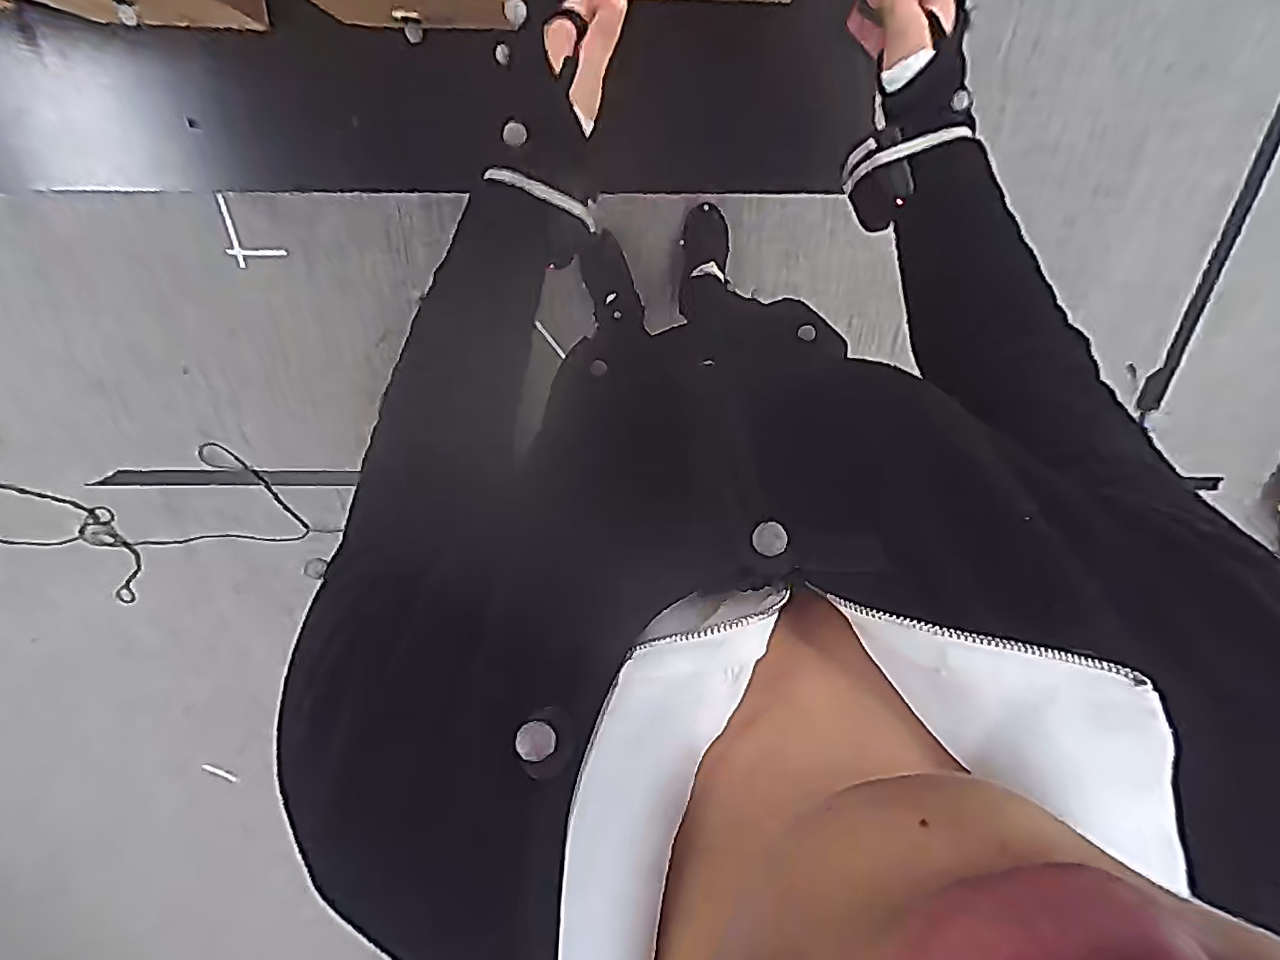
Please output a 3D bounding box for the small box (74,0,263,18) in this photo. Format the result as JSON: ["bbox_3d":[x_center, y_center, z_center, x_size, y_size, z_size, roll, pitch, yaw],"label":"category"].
[{"bbox_3d":[-0.433,-0.484,0.412,0.168,0.176,0.179,-1,118,-4],"label":"small box"}]

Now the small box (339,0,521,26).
[{"bbox_3d":[-0.195,-0.491,0.425,0.168,0.176,0.179,-2,119,-1],"label":"small box"}]
